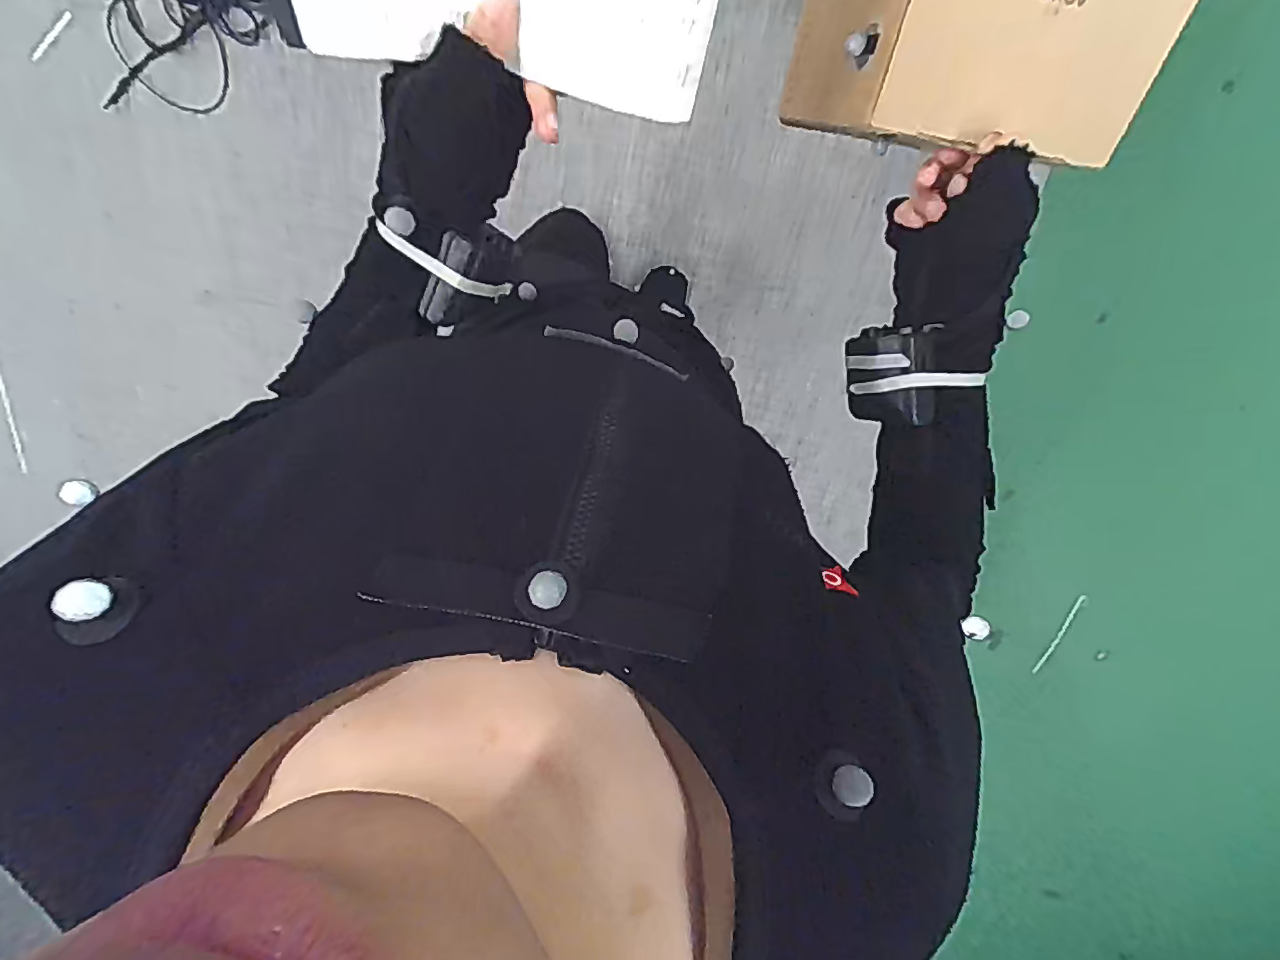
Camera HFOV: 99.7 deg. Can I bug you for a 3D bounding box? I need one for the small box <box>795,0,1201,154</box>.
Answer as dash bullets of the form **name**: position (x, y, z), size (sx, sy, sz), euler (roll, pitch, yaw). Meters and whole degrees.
- **small box**: position (0.218, -0.323, 0.340), size (0.168, 0.176, 0.179), euler (2, 126, -11)
